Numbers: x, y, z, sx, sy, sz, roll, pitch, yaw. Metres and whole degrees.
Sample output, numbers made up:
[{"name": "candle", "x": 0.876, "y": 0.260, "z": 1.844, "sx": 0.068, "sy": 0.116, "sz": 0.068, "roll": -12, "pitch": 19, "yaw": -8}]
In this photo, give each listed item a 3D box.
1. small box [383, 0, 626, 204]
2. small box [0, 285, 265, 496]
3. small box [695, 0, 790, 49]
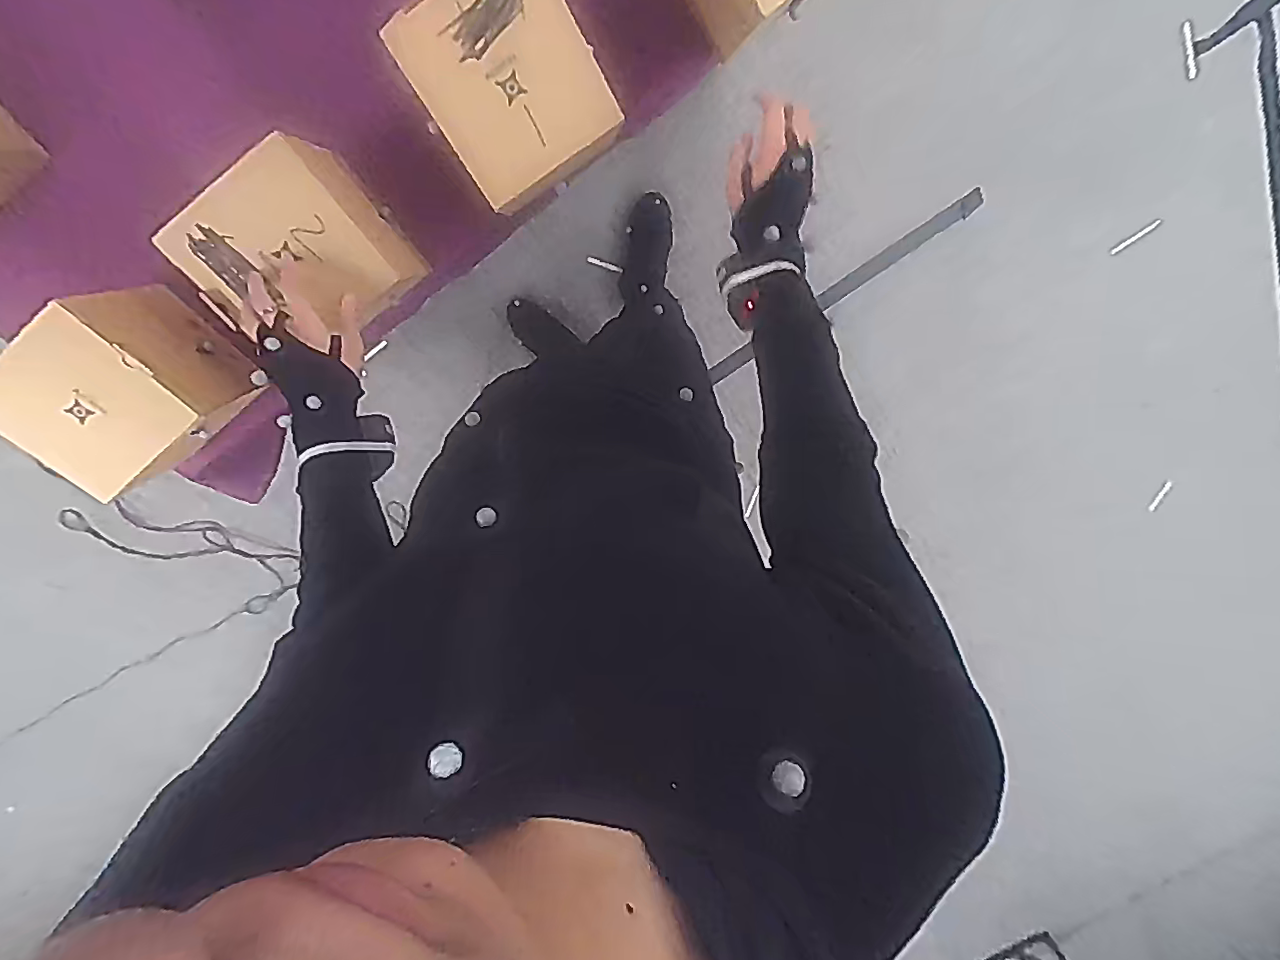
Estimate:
[{"name": "small box", "x": -0.136, "y": -0.427, "z": 0.592, "sx": 0.168, "sy": 0.176, "sz": 0.179, "roll": -31, "pitch": 116, "yaw": 8}, {"name": "small box", "x": -0.621, "y": -0.118, "z": 0.671, "sx": 0.179, "sy": 0.176, "sz": 0.168, "roll": -38, "pitch": 114, "yaw": 9}, {"name": "small box", "x": 0.124, "y": -0.595, "z": 0.547, "sx": 0.168, "sy": 0.176, "sz": 0.179, "roll": -36, "pitch": 115, "yaw": 11}]
